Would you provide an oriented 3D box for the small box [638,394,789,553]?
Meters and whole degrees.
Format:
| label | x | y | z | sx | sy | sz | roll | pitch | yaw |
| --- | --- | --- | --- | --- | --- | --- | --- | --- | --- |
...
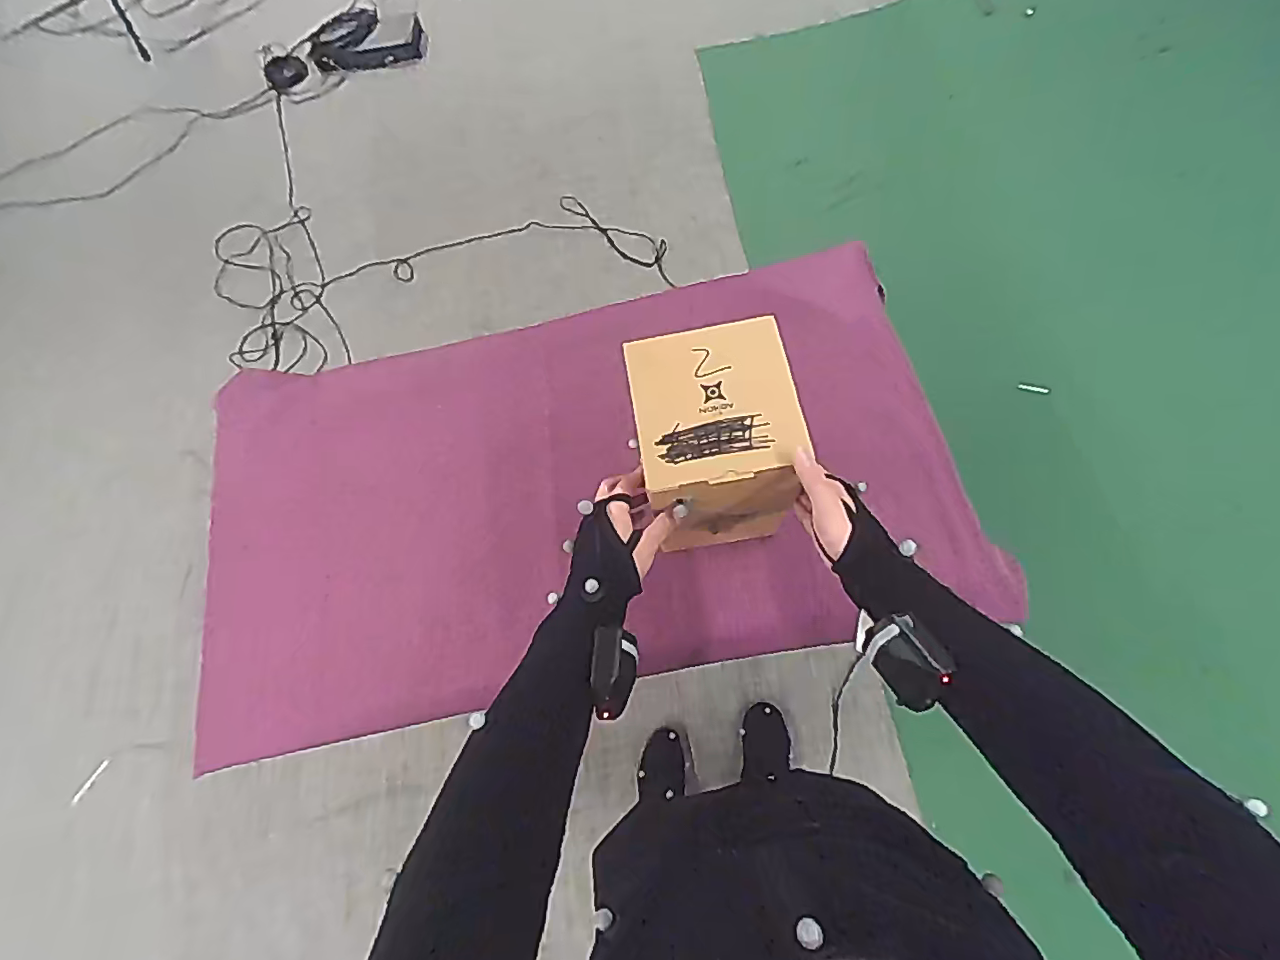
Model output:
| label | x | y | z | sx | sy | sz | roll | pitch | yaw |
| --- | --- | --- | --- | --- | --- | --- | --- | --- | --- |
| small box | 0.101 | 0.000 | 0.781 | 0.179 | 0.176 | 0.168 | -10 | 70 | 2 |
